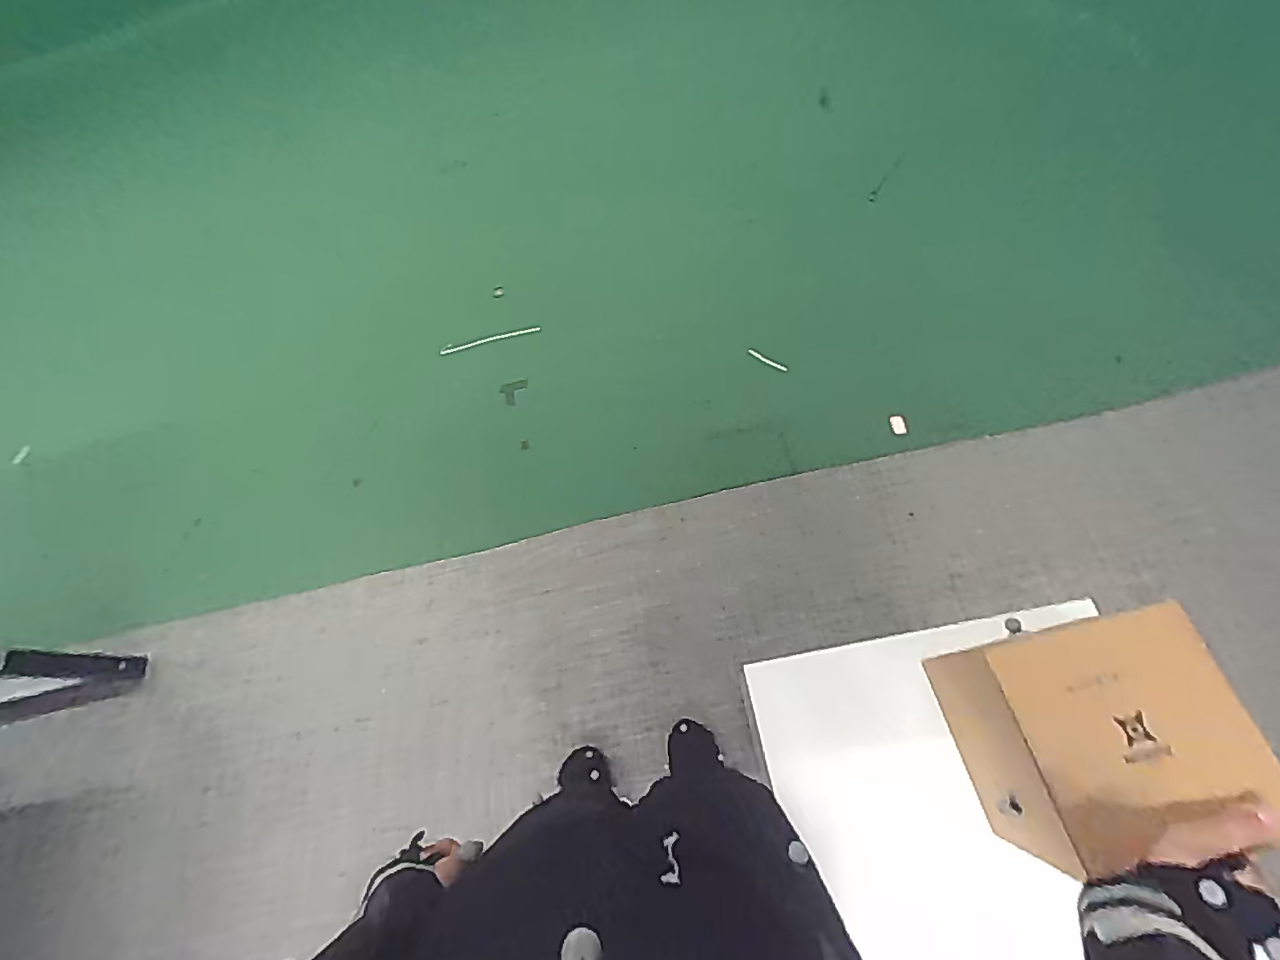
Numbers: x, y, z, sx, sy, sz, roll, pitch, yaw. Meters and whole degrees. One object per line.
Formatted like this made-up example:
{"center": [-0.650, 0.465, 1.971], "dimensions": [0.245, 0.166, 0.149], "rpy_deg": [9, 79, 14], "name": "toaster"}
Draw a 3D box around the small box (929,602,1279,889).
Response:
{"center": [0.401, 0.227, 0.493], "dimensions": [0.168, 0.176, 0.179], "rpy_deg": [-16, 66, 2], "name": "small box"}
